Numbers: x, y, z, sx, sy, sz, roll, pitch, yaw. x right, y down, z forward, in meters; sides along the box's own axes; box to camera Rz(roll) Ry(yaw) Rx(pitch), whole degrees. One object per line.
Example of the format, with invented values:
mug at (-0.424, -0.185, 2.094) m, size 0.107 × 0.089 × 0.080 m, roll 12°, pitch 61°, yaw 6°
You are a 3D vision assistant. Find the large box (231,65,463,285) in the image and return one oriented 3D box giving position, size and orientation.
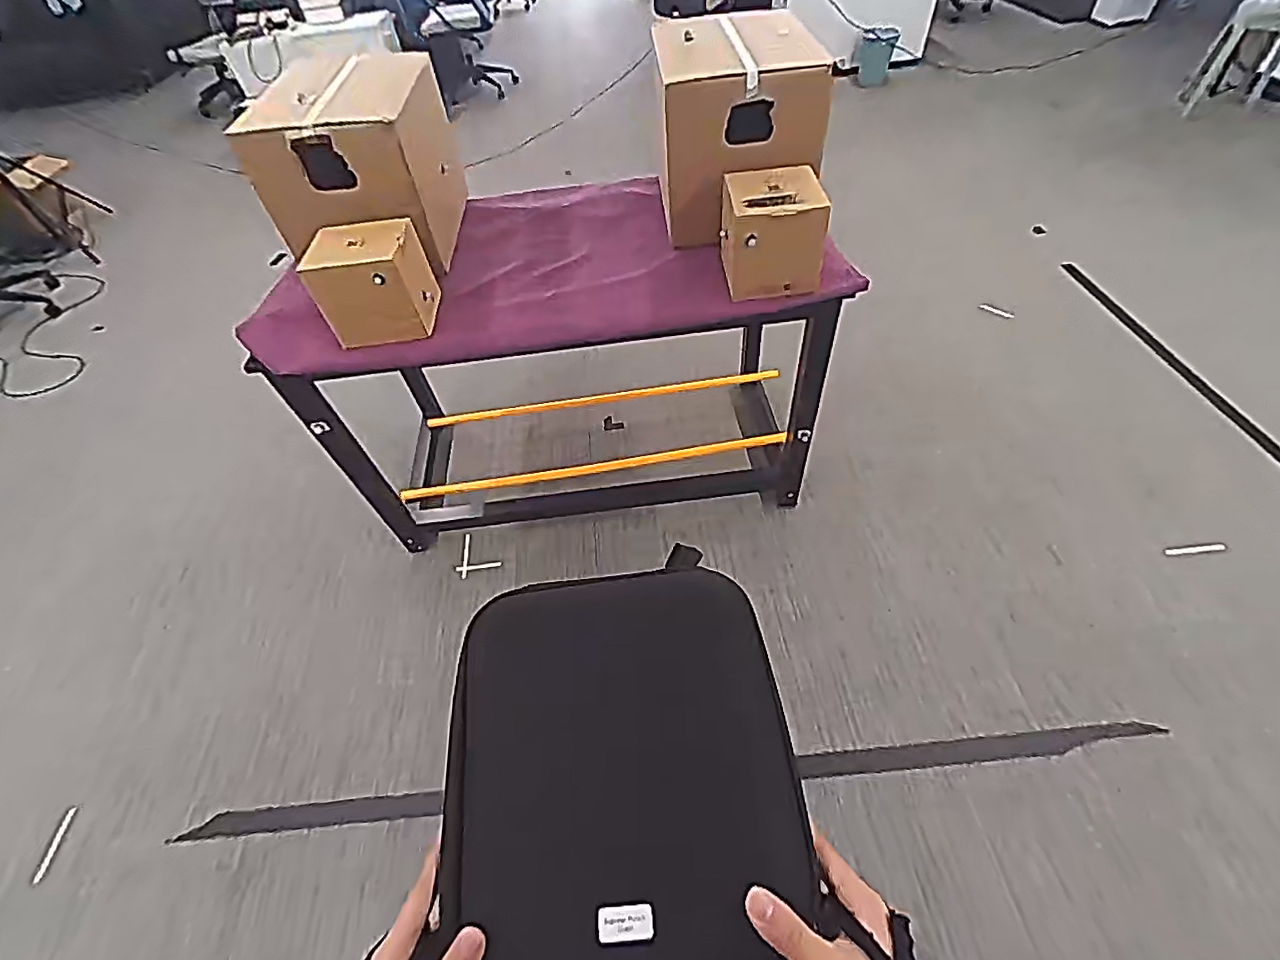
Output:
large box at (-0.608, -0.676, 1.220) m, size 0.320 × 0.320 × 0.408 m, roll -6°, pitch 54°, yaw 0°

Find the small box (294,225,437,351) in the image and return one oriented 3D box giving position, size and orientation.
small box at (-0.523, -0.370, 1.059) m, size 0.179 × 0.176 × 0.168 m, roll -8°, pitch 50°, yaw -1°
